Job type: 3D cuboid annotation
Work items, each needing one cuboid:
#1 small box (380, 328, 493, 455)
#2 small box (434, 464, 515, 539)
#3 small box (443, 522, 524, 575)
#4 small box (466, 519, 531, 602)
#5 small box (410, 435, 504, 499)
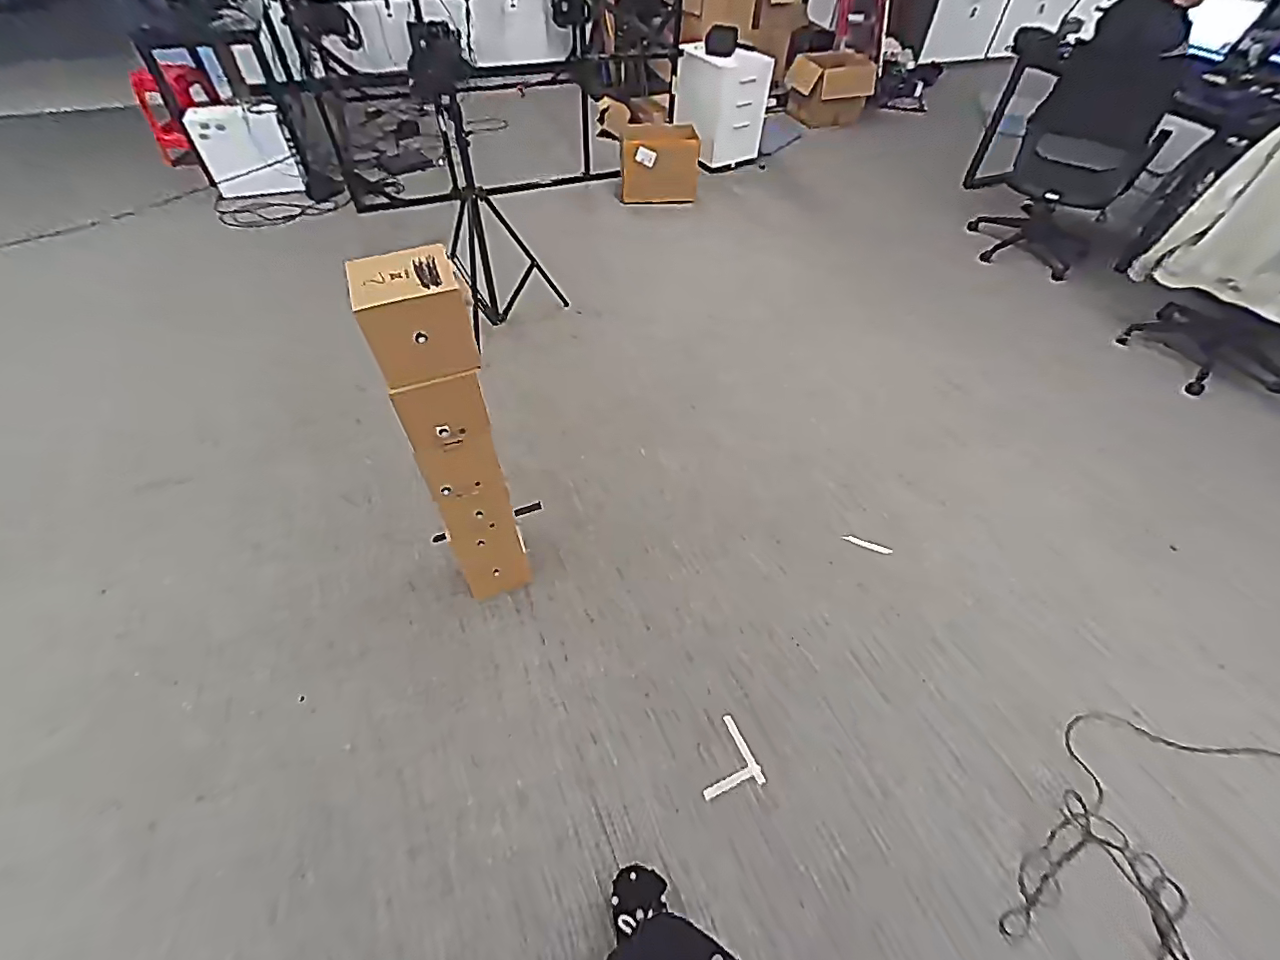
[{"bbox_3d":[-0.415,-0.181,1.114,0.168,0.176,0.179,-19,54,-15],"label":"small box"},{"bbox_3d":[-0.422,0.029,1.364,0.168,0.176,0.179,-16,53,-14],"label":"small box"},{"bbox_3d":[-0.433,0.137,1.486,0.179,0.176,0.168,-15,53,-14],"label":"small box"},{"bbox_3d":[-0.431,0.238,1.616,0.179,0.176,0.168,-17,53,-15],"label":"small box"},{"bbox_3d":[-0.421,-0.077,1.238,0.168,0.176,0.179,-17,52,-15],"label":"small box"}]
